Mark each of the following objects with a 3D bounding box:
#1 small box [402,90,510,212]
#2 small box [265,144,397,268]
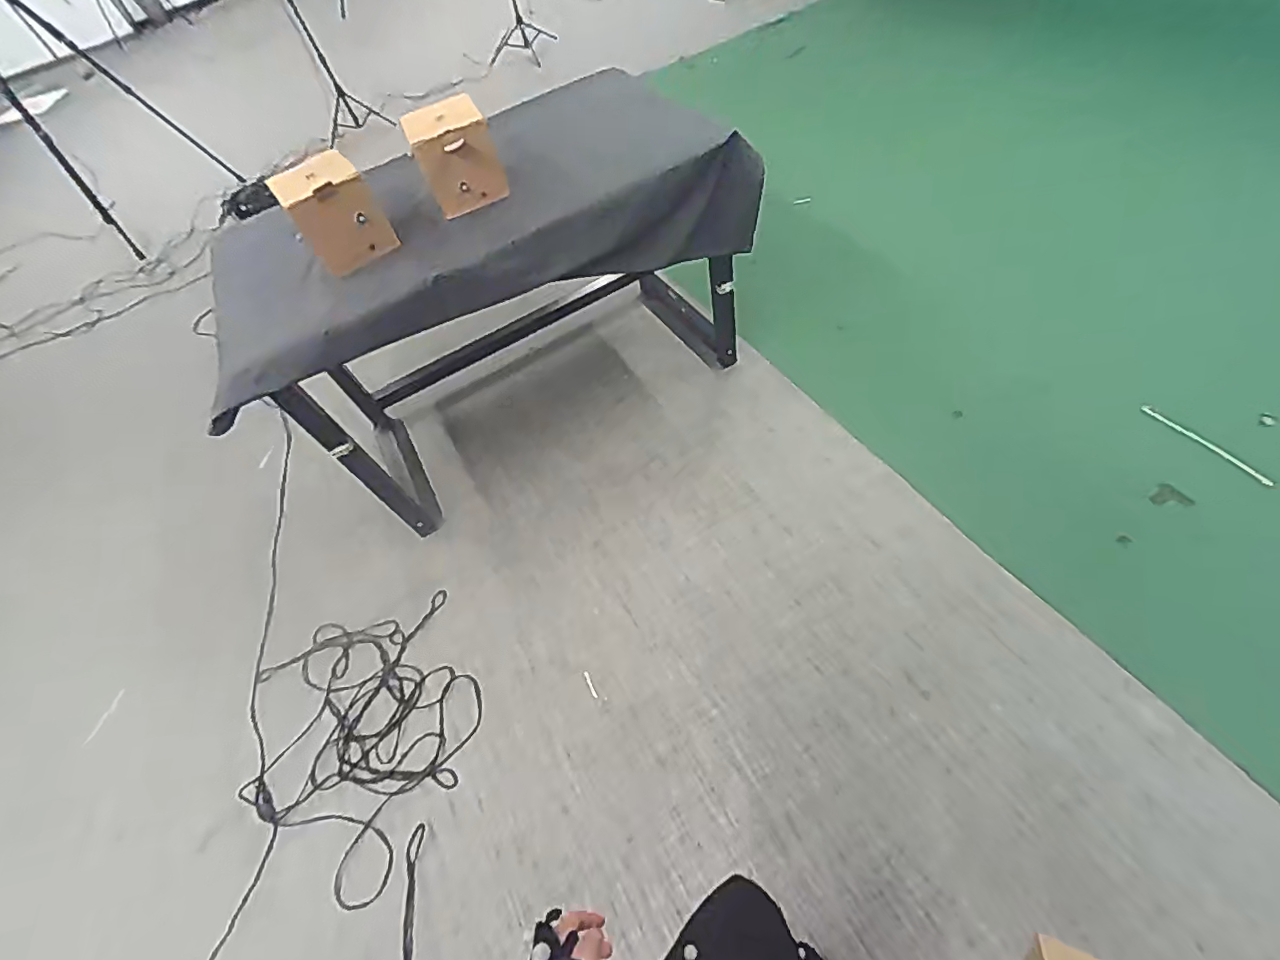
[{"bbox_3d":[-0.416,-0.747,1.234,0.168,0.176,0.179,-24,55,-6],"label":"small box"},{"bbox_3d":[-0.663,-0.588,1.174,0.168,0.176,0.179,-35,55,-15],"label":"small box"}]
